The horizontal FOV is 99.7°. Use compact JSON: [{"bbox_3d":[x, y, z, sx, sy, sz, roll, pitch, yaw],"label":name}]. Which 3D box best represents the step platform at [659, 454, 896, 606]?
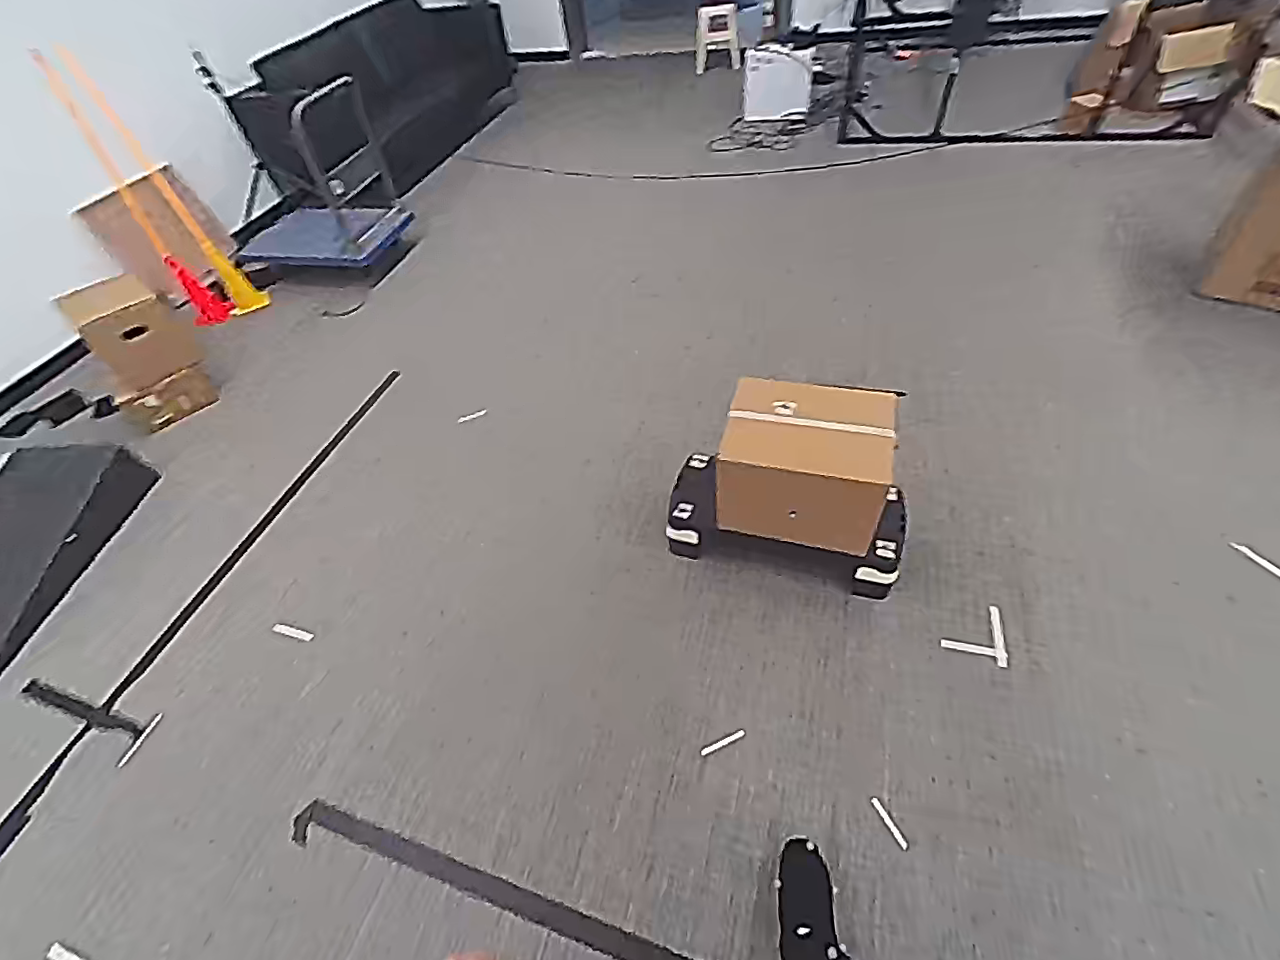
[{"bbox_3d":[0.404,0.131,1.647,0.684,0.204,0.286,13,54,20],"label":"step platform"}]

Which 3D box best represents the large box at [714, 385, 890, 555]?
[{"bbox_3d":[0.431,-0.027,1.461,0.408,0.320,0.320,8,52,17],"label":"large box"}]
